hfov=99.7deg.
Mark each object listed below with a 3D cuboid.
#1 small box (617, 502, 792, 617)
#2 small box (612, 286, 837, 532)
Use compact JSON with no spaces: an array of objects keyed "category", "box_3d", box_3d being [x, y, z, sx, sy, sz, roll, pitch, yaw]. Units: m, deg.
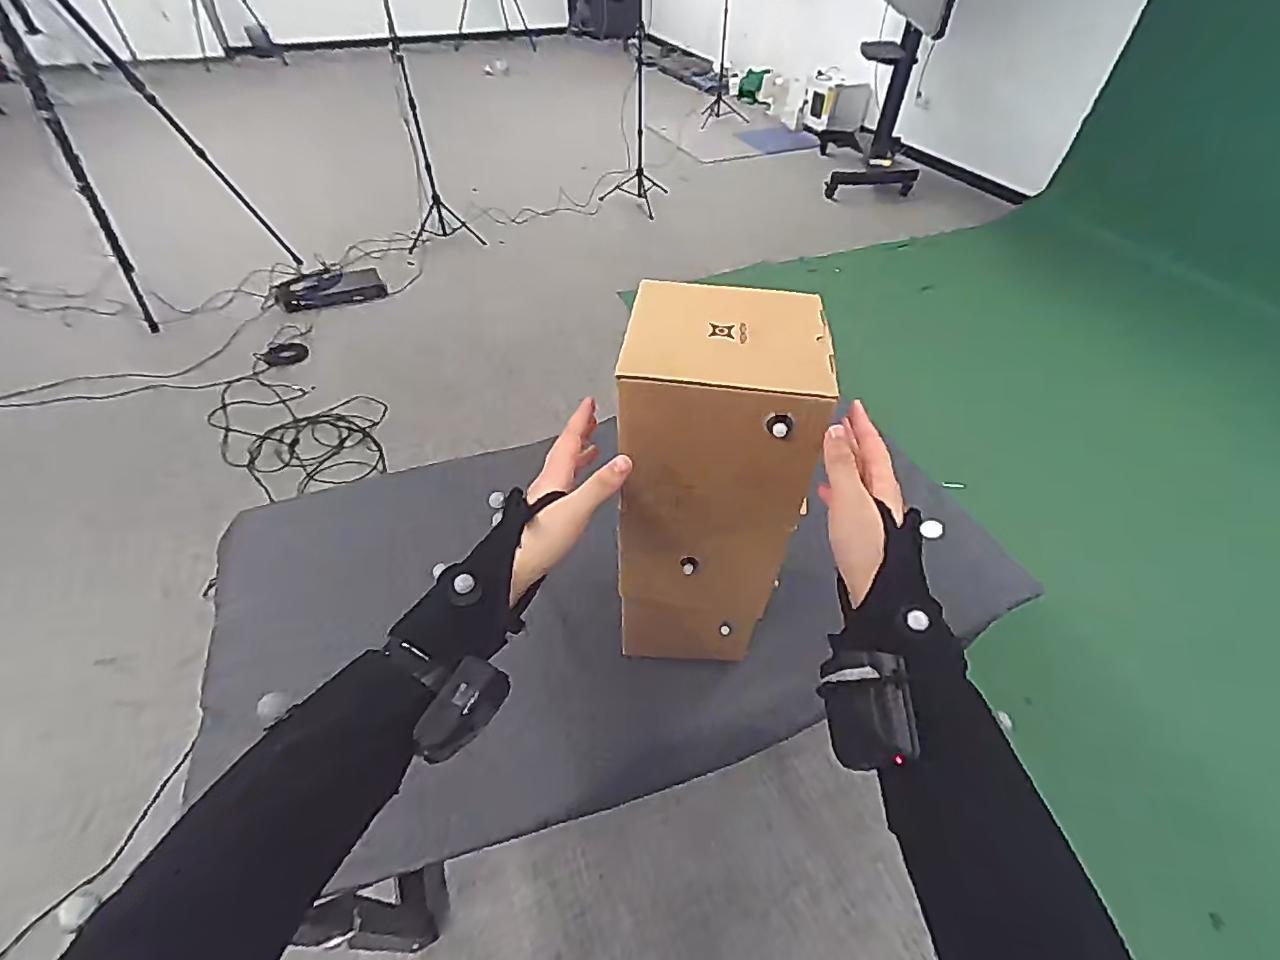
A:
[{"category":"small box","box_3d":[0.074,0.044,0.643,0.179,0.176,0.168,7,47,7]},{"category":"small box","box_3d":[0.073,-0.067,0.524,0.179,0.176,0.168,6,46,4]}]
